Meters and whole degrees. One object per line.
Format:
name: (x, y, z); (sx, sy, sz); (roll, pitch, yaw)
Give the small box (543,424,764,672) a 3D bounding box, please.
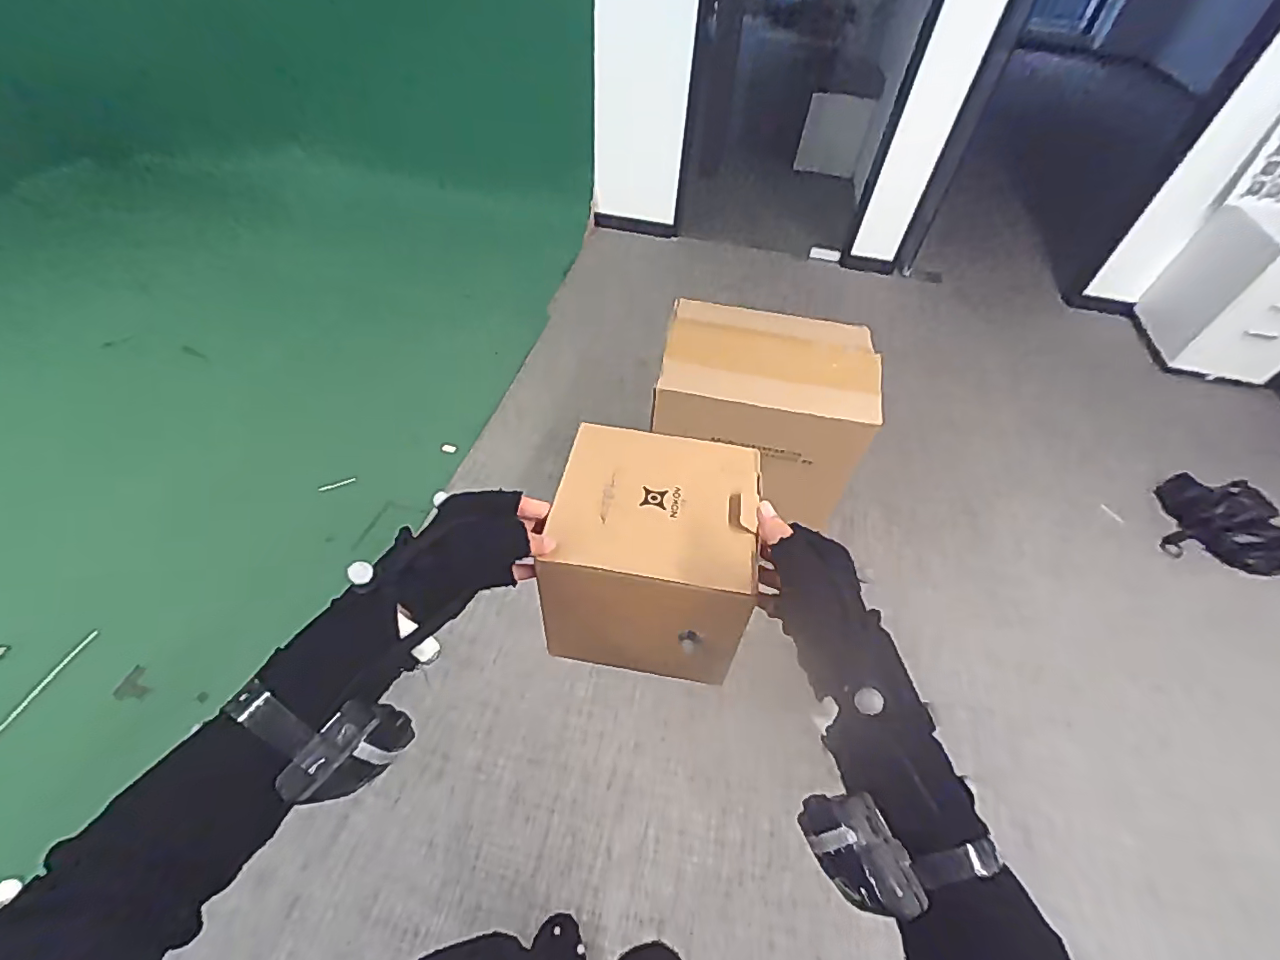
small box: (0.016, 0.070, 0.530); (0.179, 0.176, 0.168); (7, 46, 4)
